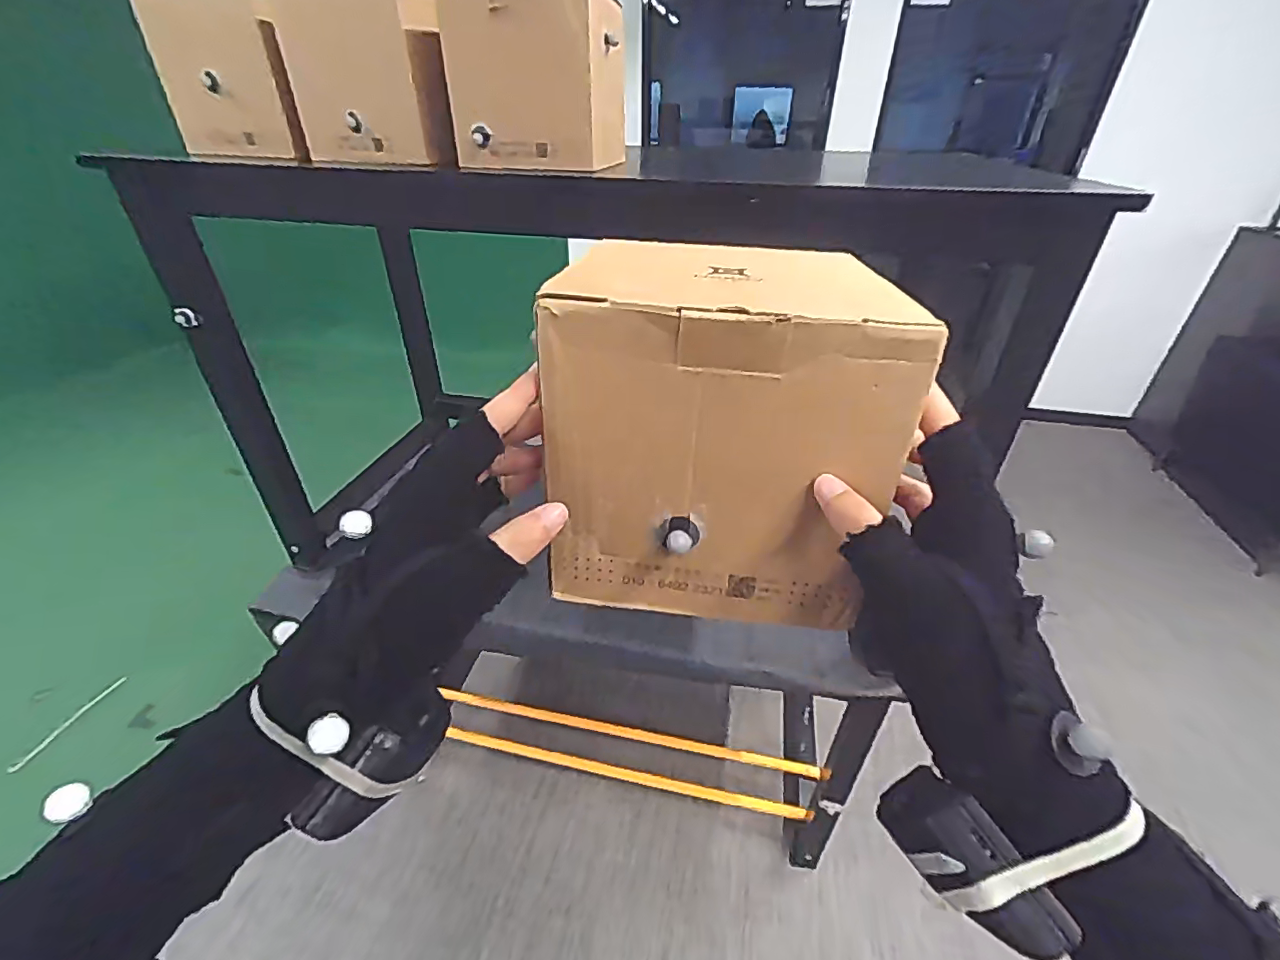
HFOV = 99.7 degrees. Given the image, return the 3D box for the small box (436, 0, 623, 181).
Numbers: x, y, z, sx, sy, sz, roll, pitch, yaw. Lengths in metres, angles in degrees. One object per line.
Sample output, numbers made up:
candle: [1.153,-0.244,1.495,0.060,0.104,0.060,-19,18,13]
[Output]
small box: [-0.116,-0.463,0.655,0.168,0.176,0.179,6,33,8]

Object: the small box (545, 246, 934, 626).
small box: [0.044,-0.039,0.335,0.168,0.176,0.179,5,31,4]

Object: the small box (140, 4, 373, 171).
small box: [-0.500,-0.526,0.740,0.168,0.176,0.179,9,34,9]
